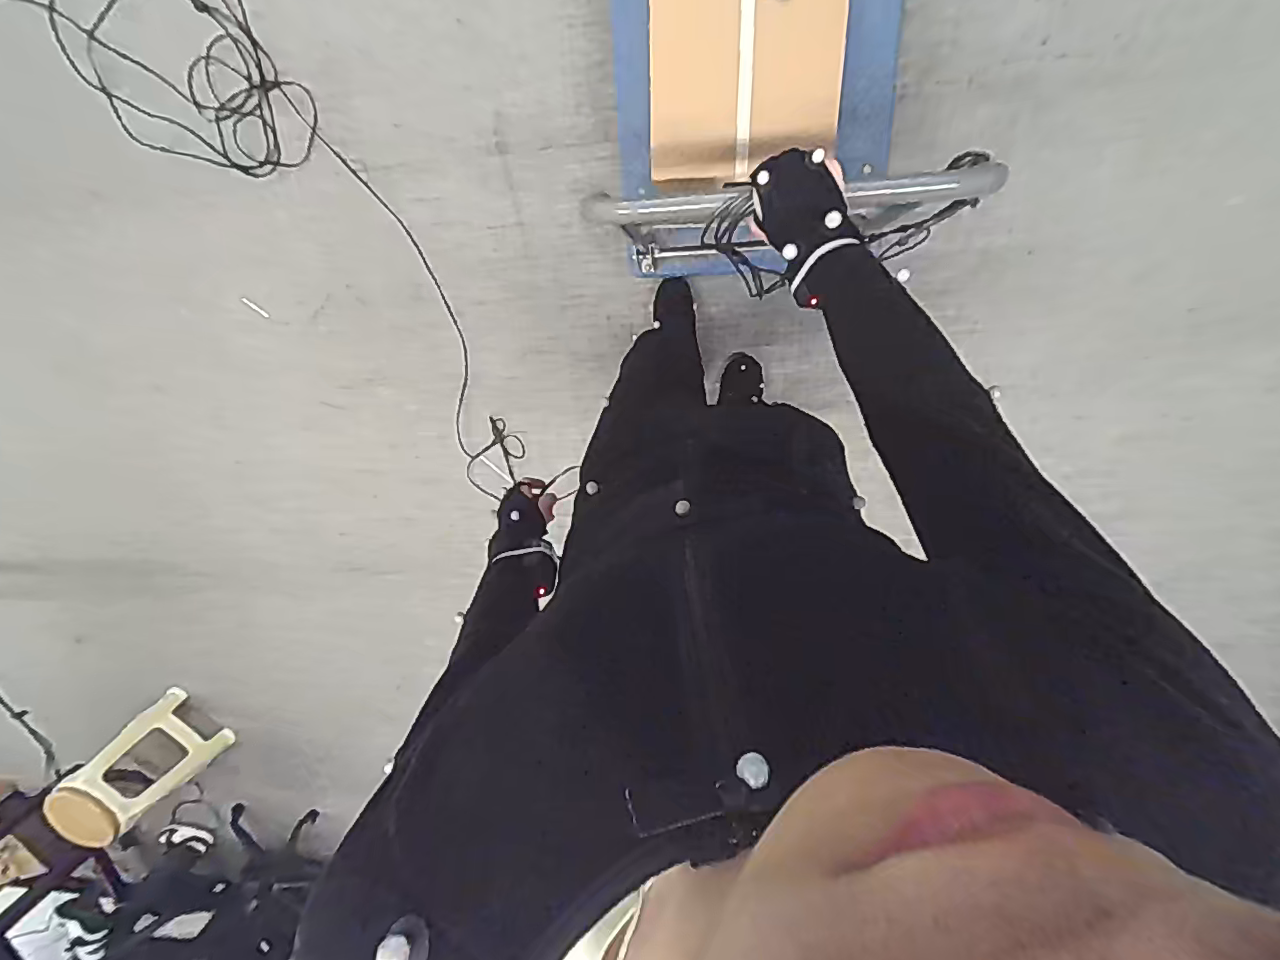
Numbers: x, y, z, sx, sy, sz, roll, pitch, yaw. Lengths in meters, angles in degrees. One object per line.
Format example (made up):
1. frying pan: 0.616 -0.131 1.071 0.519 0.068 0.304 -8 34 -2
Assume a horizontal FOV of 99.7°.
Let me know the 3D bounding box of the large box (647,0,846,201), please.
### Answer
1. large box: 0.187 -0.764 0.995 0.320 0.320 0.408 2 110 7
